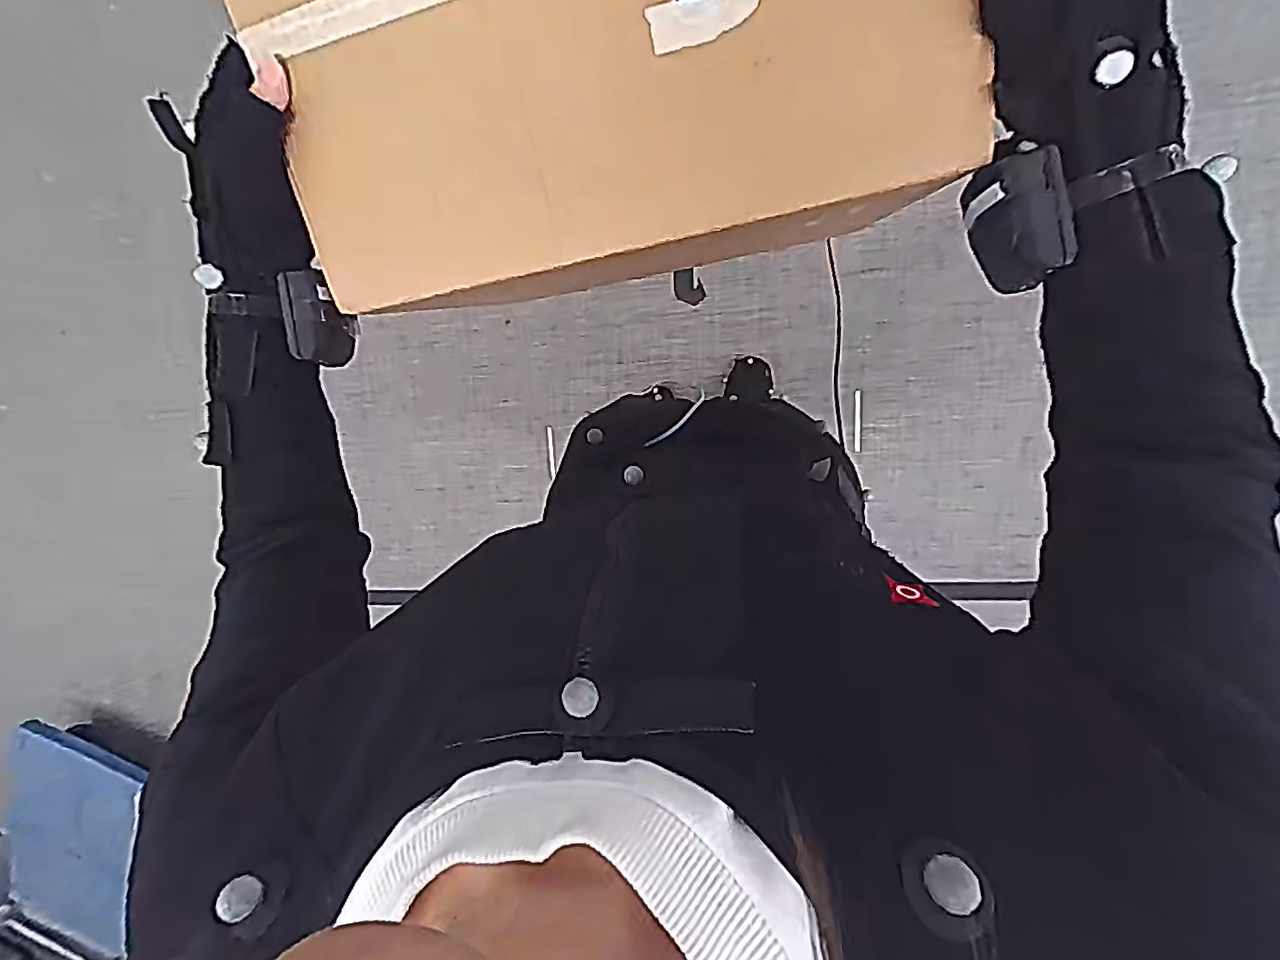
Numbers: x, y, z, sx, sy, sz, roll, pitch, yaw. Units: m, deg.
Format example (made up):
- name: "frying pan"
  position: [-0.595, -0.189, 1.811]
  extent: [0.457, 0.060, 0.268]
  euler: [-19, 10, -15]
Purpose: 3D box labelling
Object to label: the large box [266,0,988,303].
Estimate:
- name: "large box"
  position: [-0.010, -0.343, 0.433]
  extent: [0.408, 0.320, 0.320]
  euler: [-8, 108, 12]
